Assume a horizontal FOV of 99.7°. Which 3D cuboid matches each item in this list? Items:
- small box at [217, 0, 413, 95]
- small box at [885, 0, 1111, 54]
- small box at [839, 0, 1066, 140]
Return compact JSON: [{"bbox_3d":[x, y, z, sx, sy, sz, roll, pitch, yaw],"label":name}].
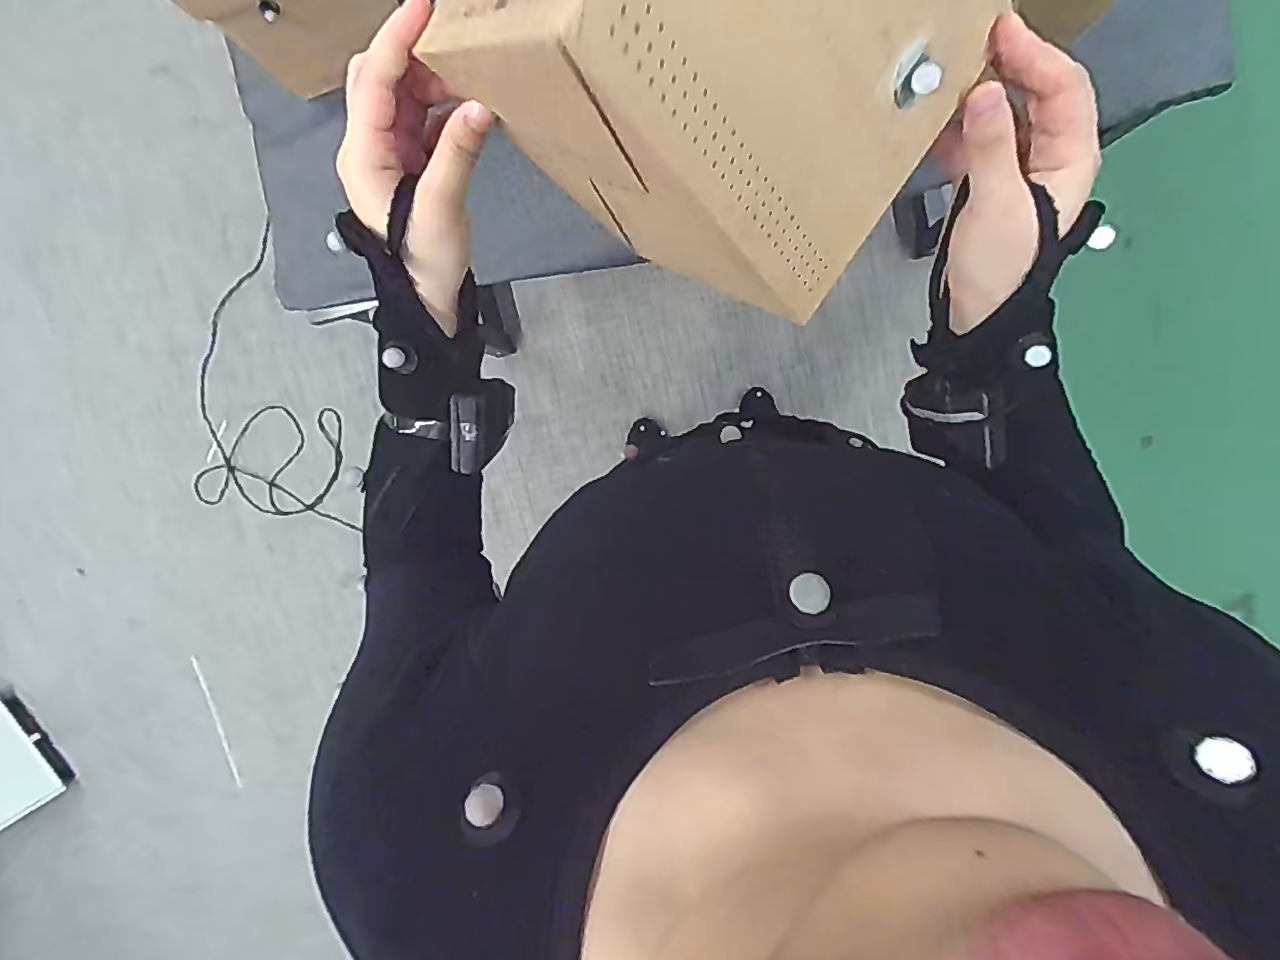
[{"bbox_3d":[-0.401,-0.609,0.635,0.168,0.176,0.179,-15,97,7],"label":"small box"},{"bbox_3d":[0.313,-0.476,0.421,0.179,0.176,0.168,0,97,7],"label":"small box"},{"bbox_3d":[0.326,-0.511,0.580,0.168,0.176,0.179,-10,96,8],"label":"small box"}]
